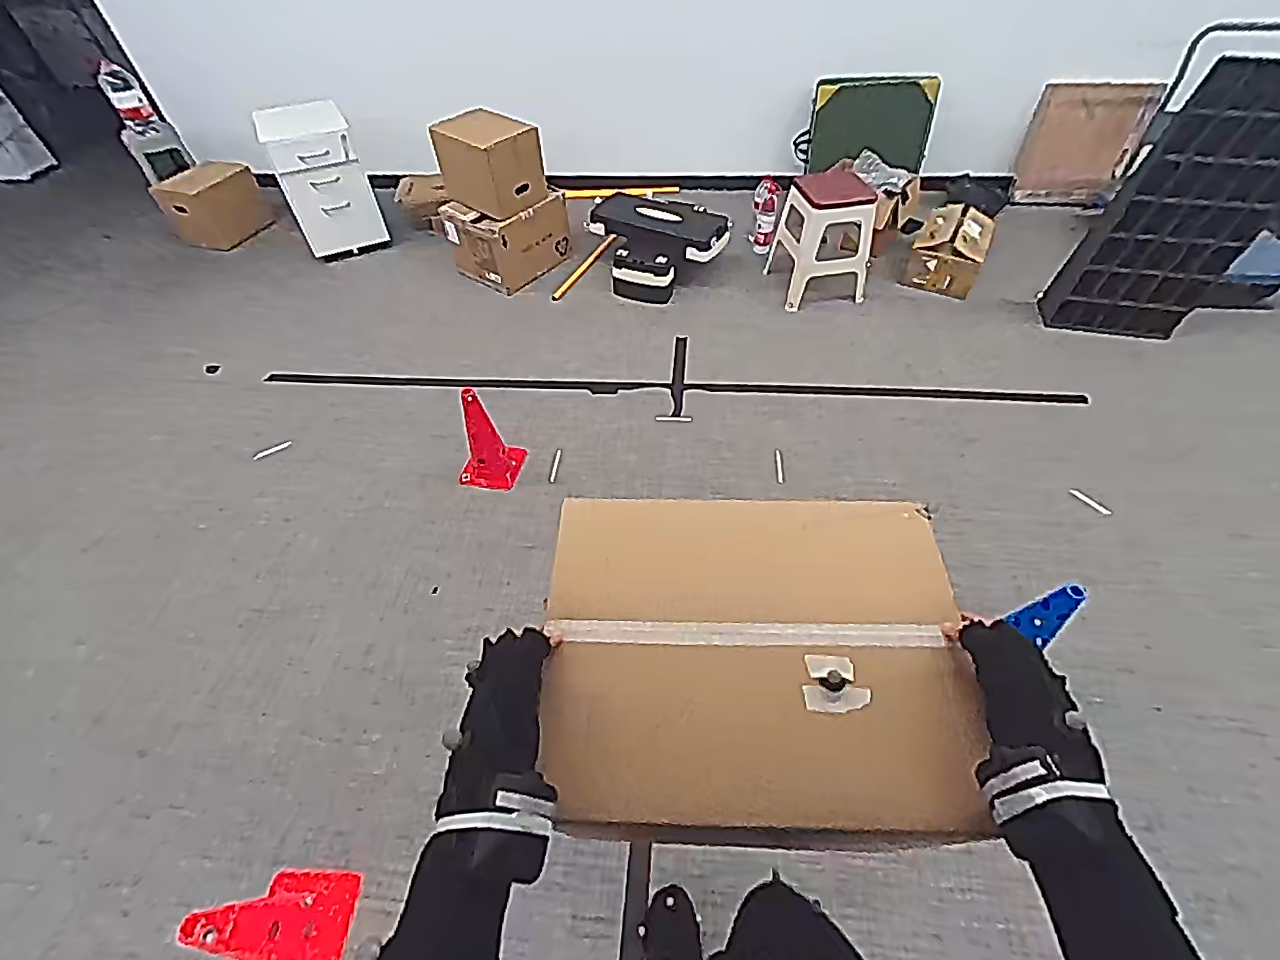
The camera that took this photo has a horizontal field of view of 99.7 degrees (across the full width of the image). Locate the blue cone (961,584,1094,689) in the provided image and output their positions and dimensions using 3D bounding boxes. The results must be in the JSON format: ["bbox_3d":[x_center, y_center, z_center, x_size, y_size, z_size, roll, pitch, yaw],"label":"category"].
[{"bbox_3d":[0.983,0.364,1.346,0.192,0.380,0.193,6,51,6],"label":"blue cone"}]

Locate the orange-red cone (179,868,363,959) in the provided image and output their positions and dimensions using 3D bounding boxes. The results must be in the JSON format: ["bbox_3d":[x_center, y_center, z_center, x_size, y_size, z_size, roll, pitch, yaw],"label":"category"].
[{"bbox_3d":[-0.709,0.831,1.000,0.198,0.360,0.199,0,51,4],"label":"orange-red cone"}]

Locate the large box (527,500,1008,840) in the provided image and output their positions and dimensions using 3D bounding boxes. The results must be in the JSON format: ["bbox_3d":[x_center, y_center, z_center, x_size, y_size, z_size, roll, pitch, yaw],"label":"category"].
[{"bbox_3d":[0.107,0.235,0.649,0.408,0.320,0.320,1,54,2],"label":"large box"}]

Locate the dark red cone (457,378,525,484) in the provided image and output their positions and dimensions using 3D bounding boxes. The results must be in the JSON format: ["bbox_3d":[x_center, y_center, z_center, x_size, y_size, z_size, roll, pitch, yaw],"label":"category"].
[{"bbox_3d":[-0.530,-0.174,1.806,0.201,0.394,0.202,8,51,7],"label":"dark red cone"}]
